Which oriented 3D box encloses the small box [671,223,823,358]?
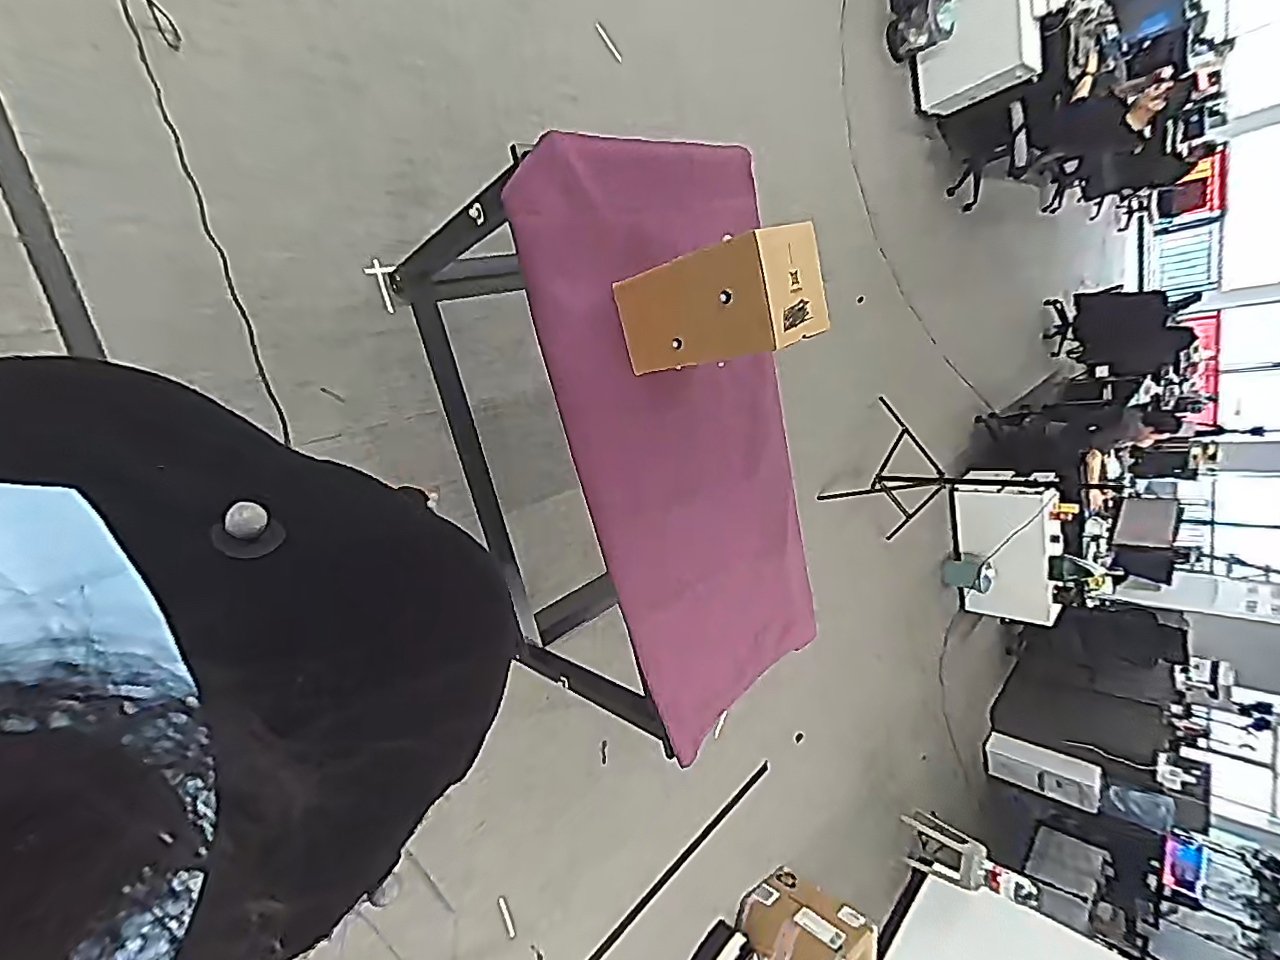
[{"bbox_3d":[0.178,-0.309,0.902,0.168,0.176,0.179,-28,110,-38],"label":"small box"}]

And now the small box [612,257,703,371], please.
[{"bbox_3d":[0.070,-0.317,1.026,0.168,0.176,0.179,-27,110,-38],"label":"small box"}]
